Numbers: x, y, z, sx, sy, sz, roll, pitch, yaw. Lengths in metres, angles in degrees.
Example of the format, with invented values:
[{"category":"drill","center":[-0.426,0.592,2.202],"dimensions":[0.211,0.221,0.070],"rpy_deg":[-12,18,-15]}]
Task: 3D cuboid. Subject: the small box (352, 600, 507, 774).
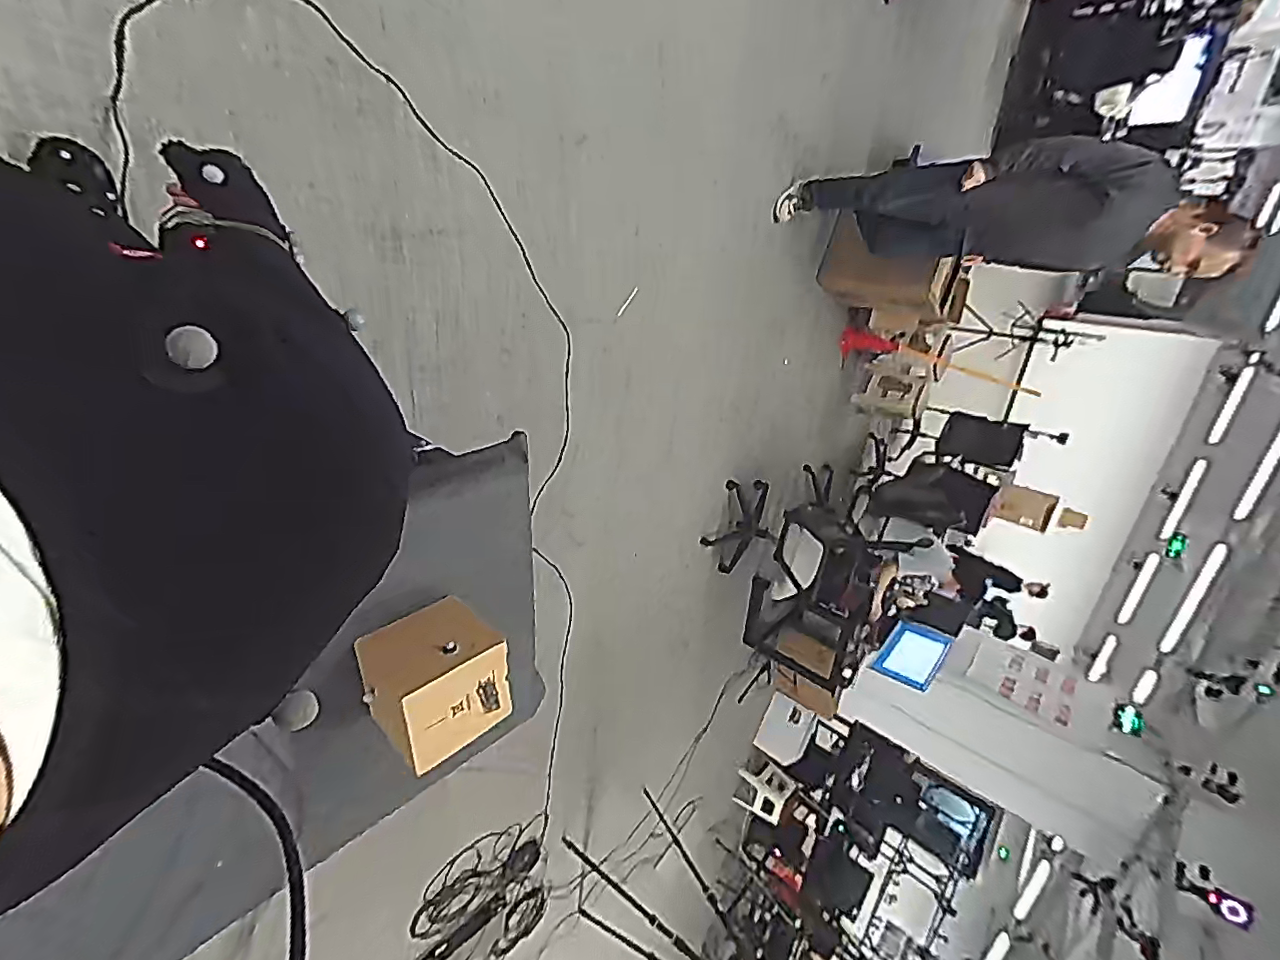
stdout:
[{"category":"small box","center":[-0.344,0.329,0.897],"dimensions":[0.179,0.176,0.168],"rpy_deg":[-23,125,-42]}]
